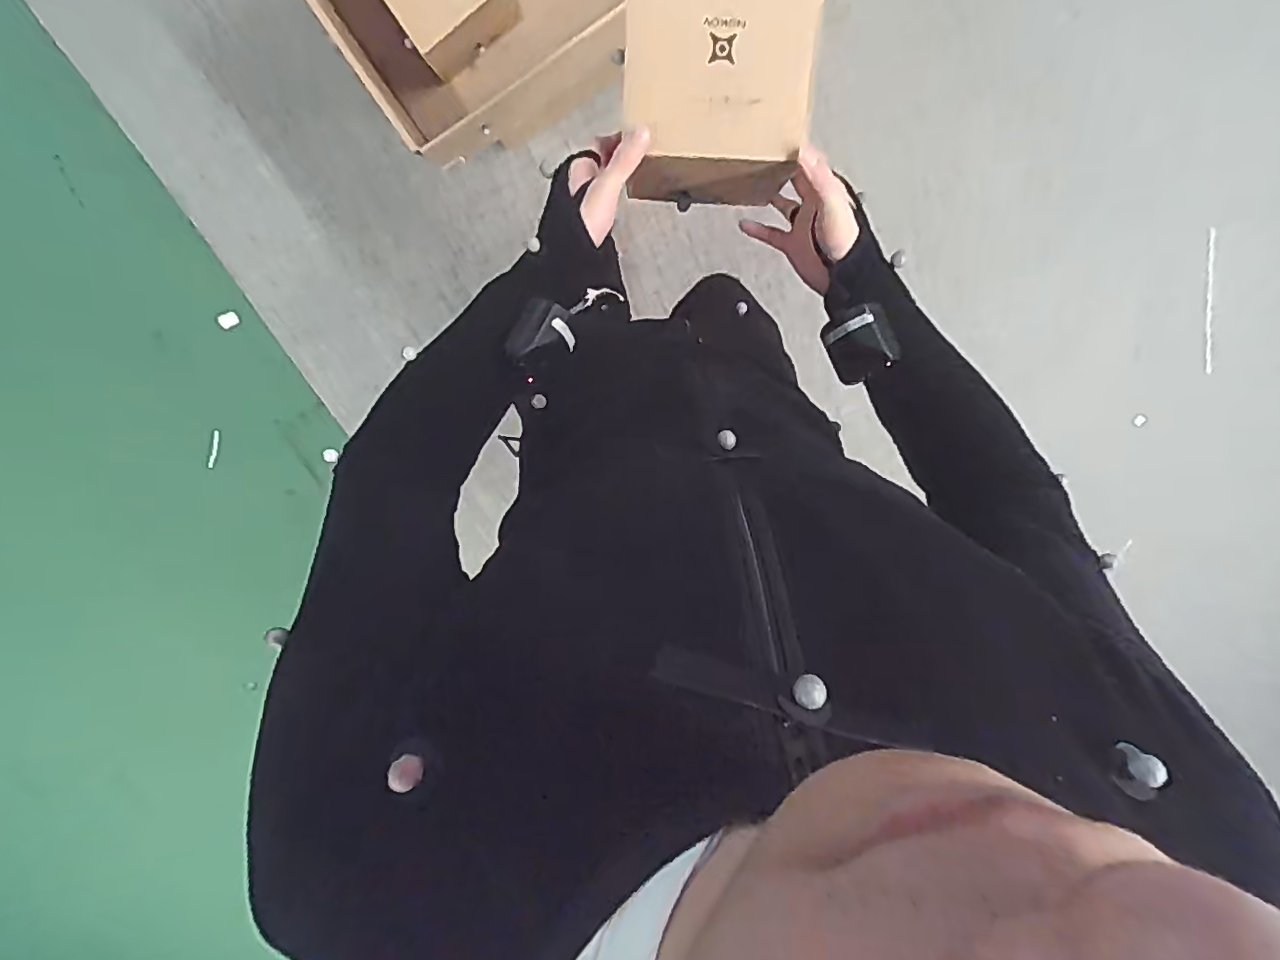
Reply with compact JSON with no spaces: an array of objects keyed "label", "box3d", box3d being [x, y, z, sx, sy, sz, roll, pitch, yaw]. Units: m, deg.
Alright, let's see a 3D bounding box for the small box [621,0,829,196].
[{"label":"small box","box3d":[0.069,-0.391,0.515,0.168,0.176,0.179,3,106,0]}]
